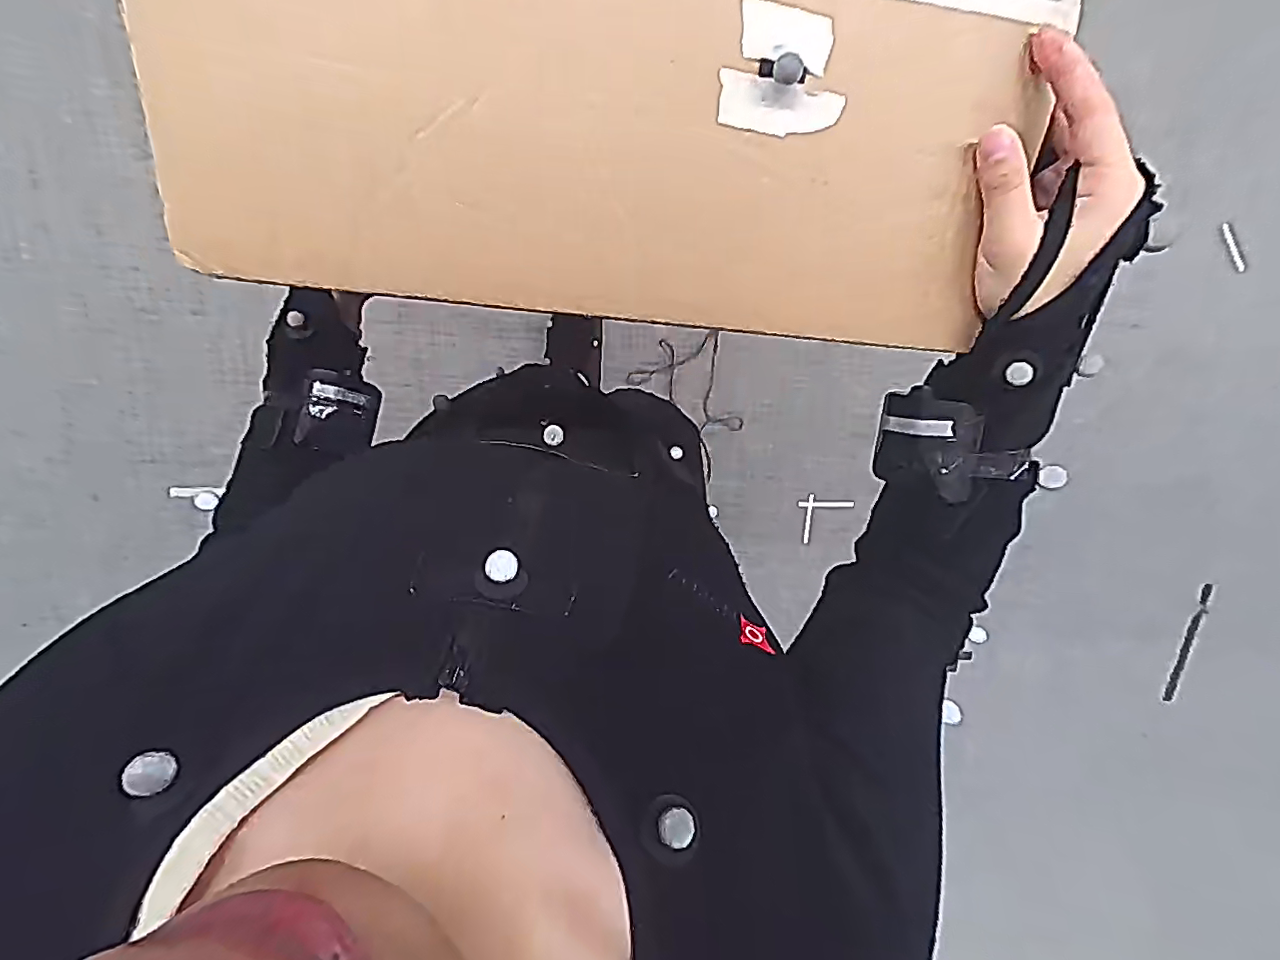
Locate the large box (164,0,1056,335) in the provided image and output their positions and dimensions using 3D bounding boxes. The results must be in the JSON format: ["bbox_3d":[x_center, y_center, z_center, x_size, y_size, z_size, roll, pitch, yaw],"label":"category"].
[{"bbox_3d":[-0.015,-0.286,0.374,0.408,0.320,0.320,3,111,-9],"label":"large box"}]
